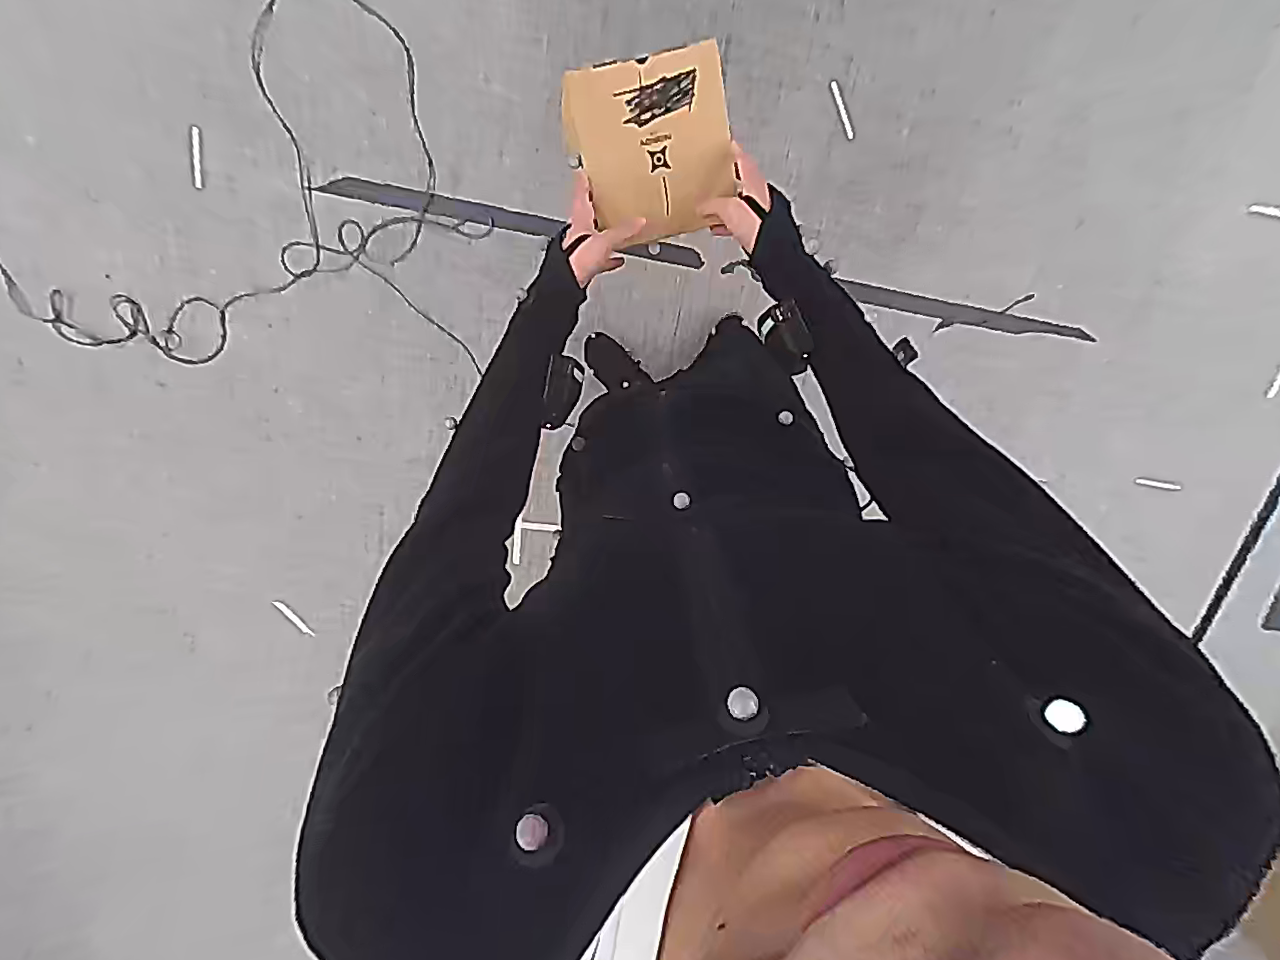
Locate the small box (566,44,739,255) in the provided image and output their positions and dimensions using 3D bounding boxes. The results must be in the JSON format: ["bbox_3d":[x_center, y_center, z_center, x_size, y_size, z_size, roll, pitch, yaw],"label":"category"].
[{"bbox_3d":[0.008,-0.385,0.663,0.168,0.176,0.179,-15,113,-2],"label":"small box"}]
